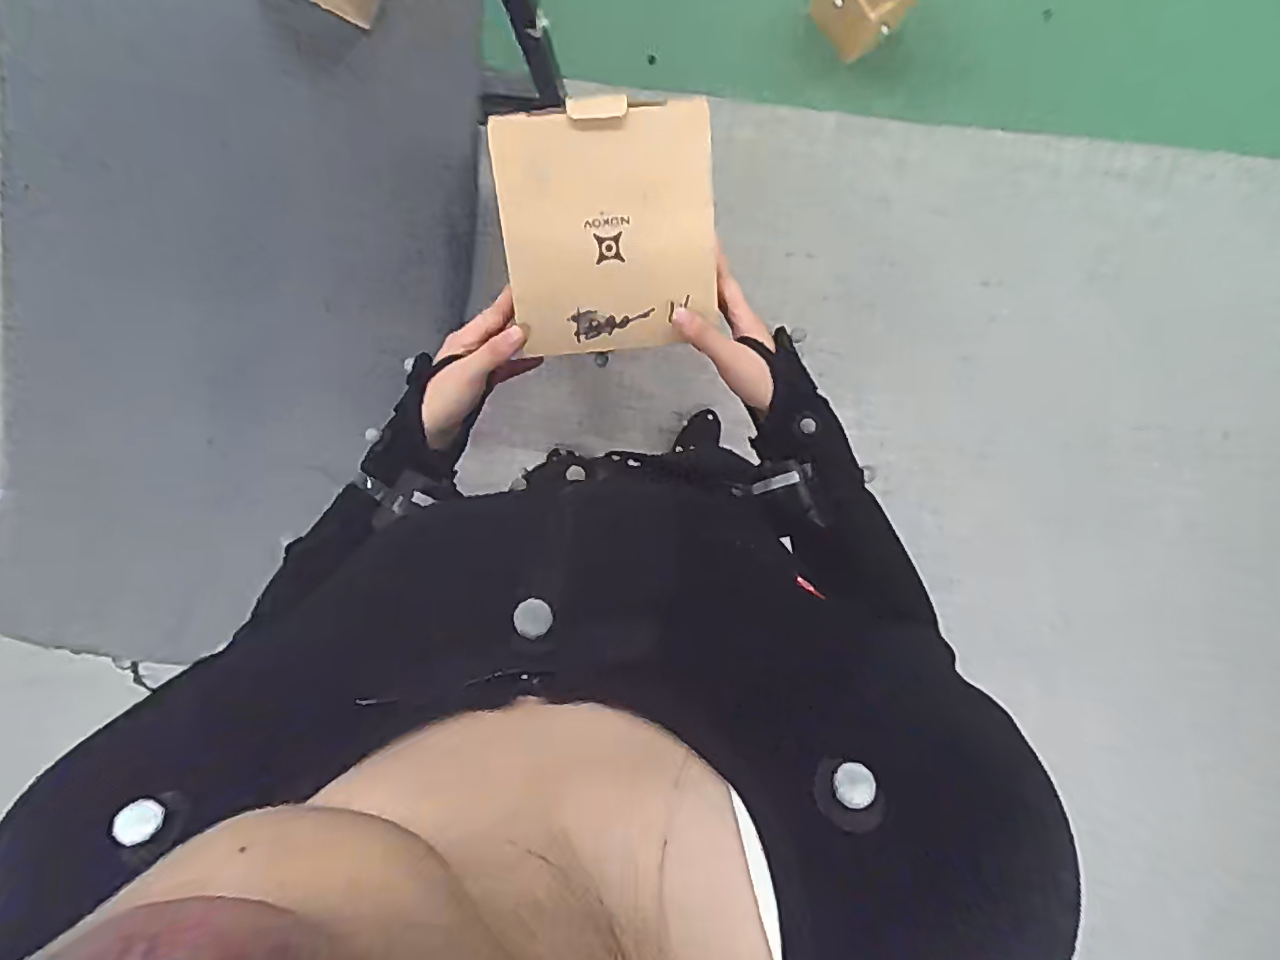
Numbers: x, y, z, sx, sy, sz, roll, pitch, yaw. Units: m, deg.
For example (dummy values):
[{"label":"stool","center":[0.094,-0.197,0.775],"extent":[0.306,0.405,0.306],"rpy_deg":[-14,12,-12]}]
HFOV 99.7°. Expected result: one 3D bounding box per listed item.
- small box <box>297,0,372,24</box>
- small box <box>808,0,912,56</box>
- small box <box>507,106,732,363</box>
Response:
[{"label":"small box","center":[-0.385,-0.652,0.582],"extent":[0.179,0.176,0.168],"rpy_deg":[27,98,1]},{"label":"small box","center":[0.514,-1.120,1.228],"extent":[0.168,0.176,0.179],"rpy_deg":[-37,94,6]},{"label":"small box","center":[-0.013,-0.207,0.491],"extent":[0.168,0.176,0.179],"rpy_deg":[-4,108,1]}]
